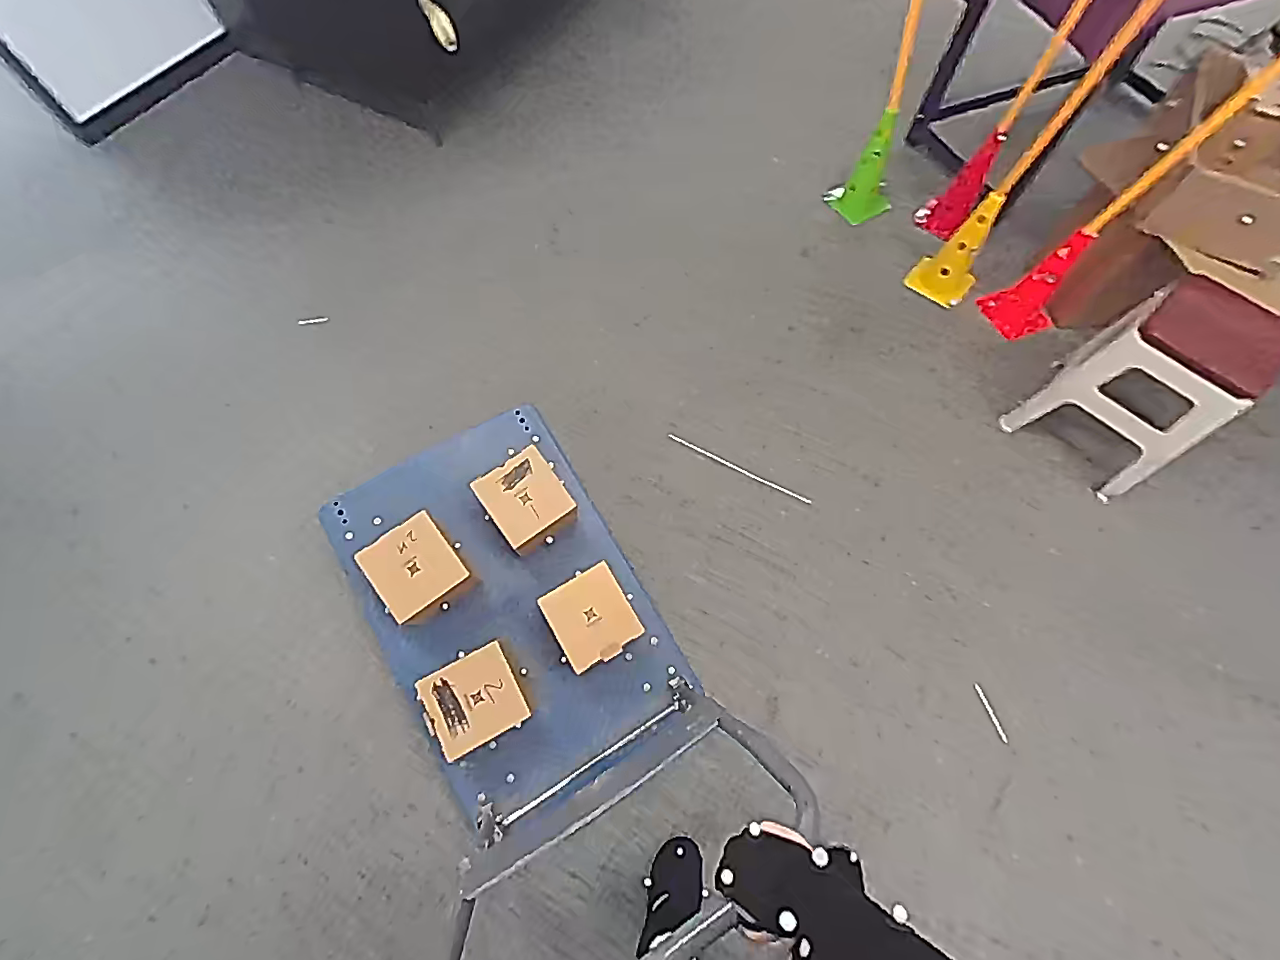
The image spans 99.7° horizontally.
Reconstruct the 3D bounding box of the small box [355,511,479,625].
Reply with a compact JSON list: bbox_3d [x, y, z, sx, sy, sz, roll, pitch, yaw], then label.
[{"bbox_3d":[-0.476,0.196,1.182,0.168,0.176,0.179,-36,82,-15],"label":"small box"}]

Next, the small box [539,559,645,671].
[{"bbox_3d":[-0.110,0.299,1.201,0.168,0.176,0.179,-30,82,-13],"label":"small box"}]

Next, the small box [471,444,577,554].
[{"bbox_3d":[-0.262,0.051,1.247,0.168,0.176,0.179,-35,83,-14],"label":"small box"}]
